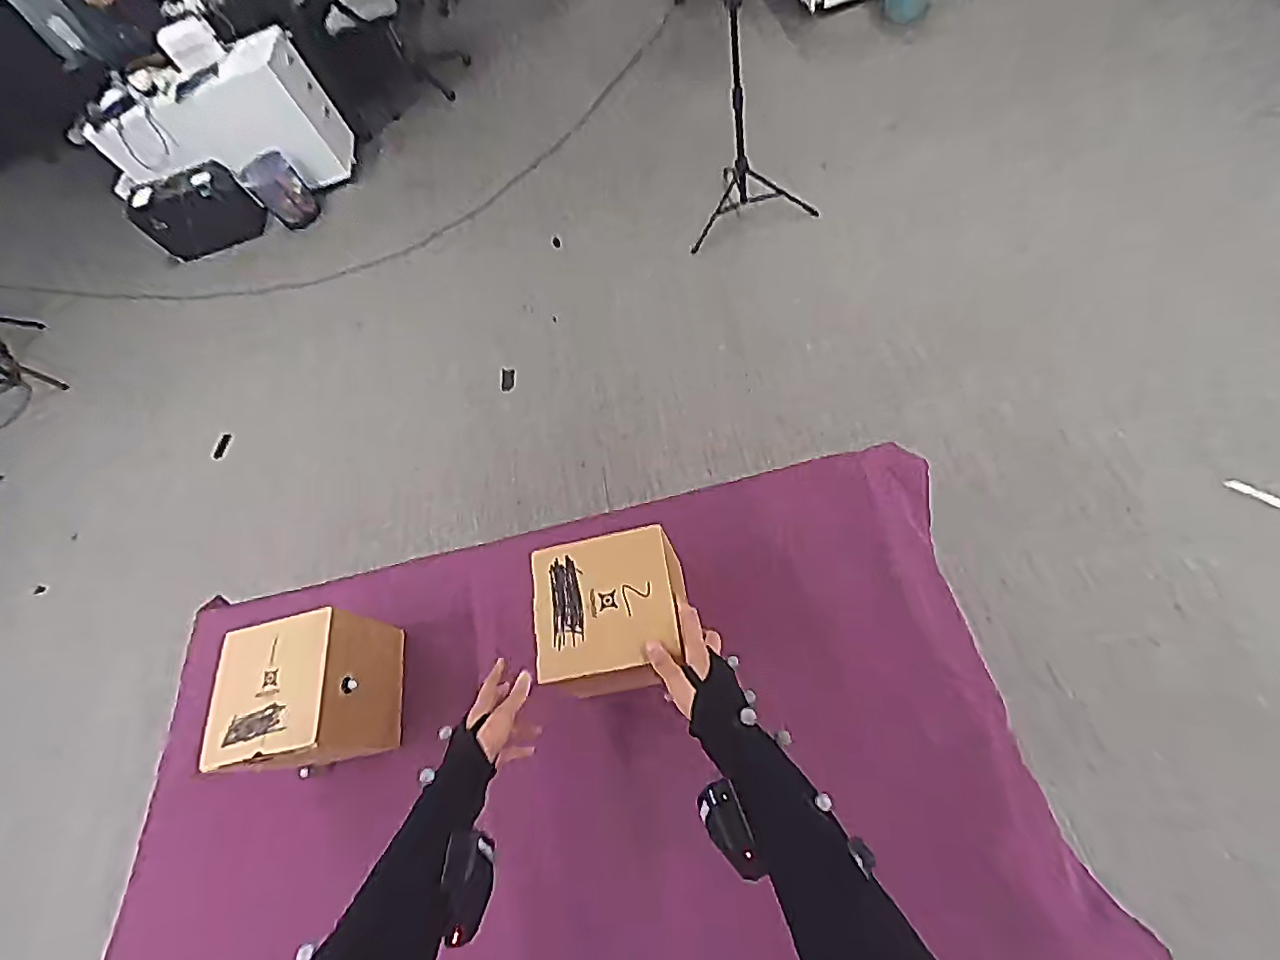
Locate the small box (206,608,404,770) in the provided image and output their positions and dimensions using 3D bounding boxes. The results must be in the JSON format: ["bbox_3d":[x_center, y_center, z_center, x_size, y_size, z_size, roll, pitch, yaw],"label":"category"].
[{"bbox_3d":[-0.461,0.303,0.775,0.168,0.176,0.179,-15,60,6],"label":"small box"}]
